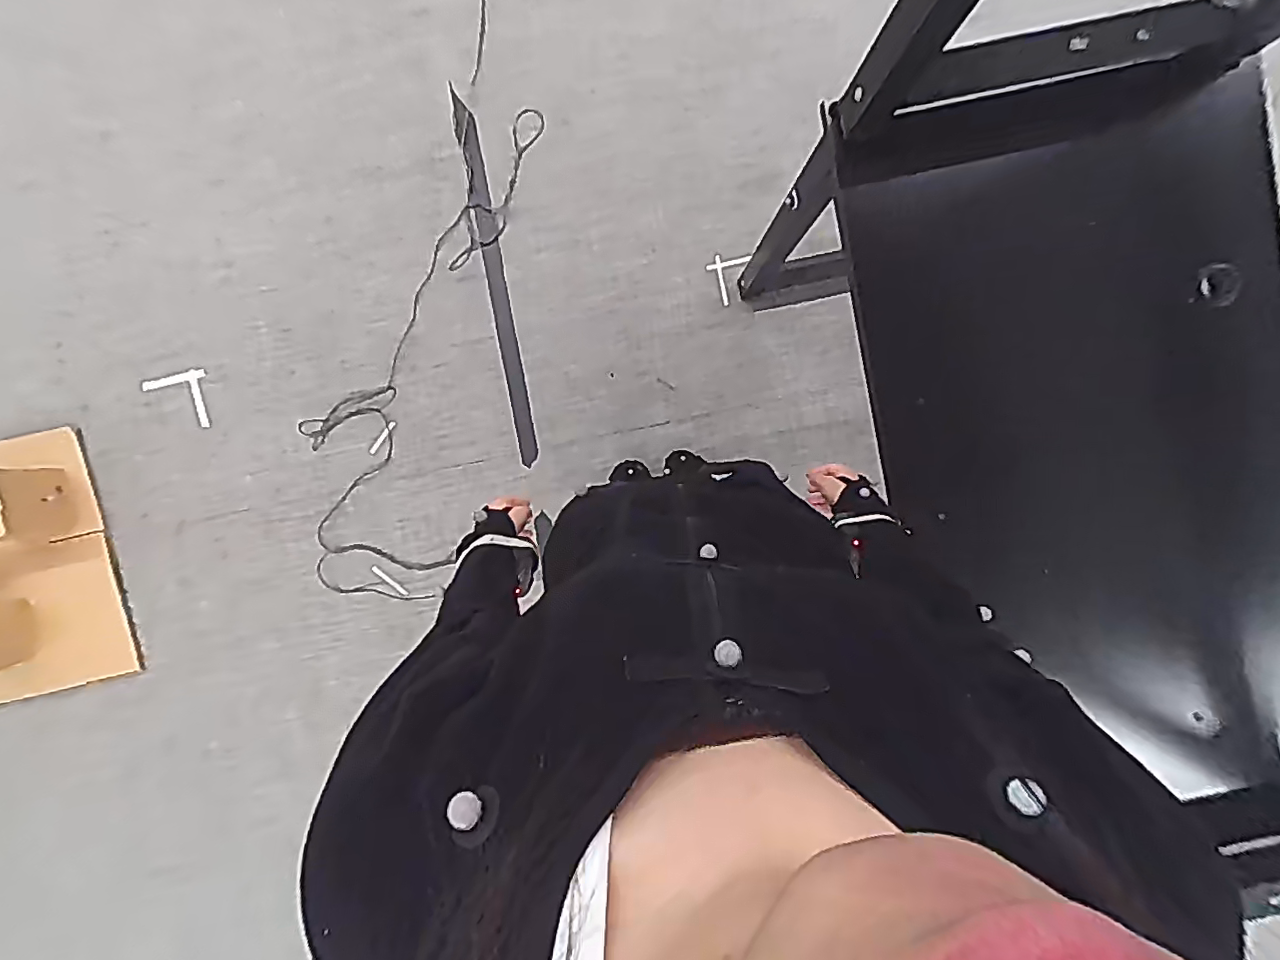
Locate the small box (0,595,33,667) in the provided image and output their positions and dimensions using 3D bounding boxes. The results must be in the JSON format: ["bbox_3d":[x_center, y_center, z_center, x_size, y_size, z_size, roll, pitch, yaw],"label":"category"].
[{"bbox_3d":[-1.747,0.410,1.401,0.168,0.176,0.179,-4,94,-1],"label":"small box"}]

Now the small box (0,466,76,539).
[{"bbox_3d":[-1.632,0.062,1.388,0.179,0.176,0.168,-12,94,-1],"label":"small box"}]
